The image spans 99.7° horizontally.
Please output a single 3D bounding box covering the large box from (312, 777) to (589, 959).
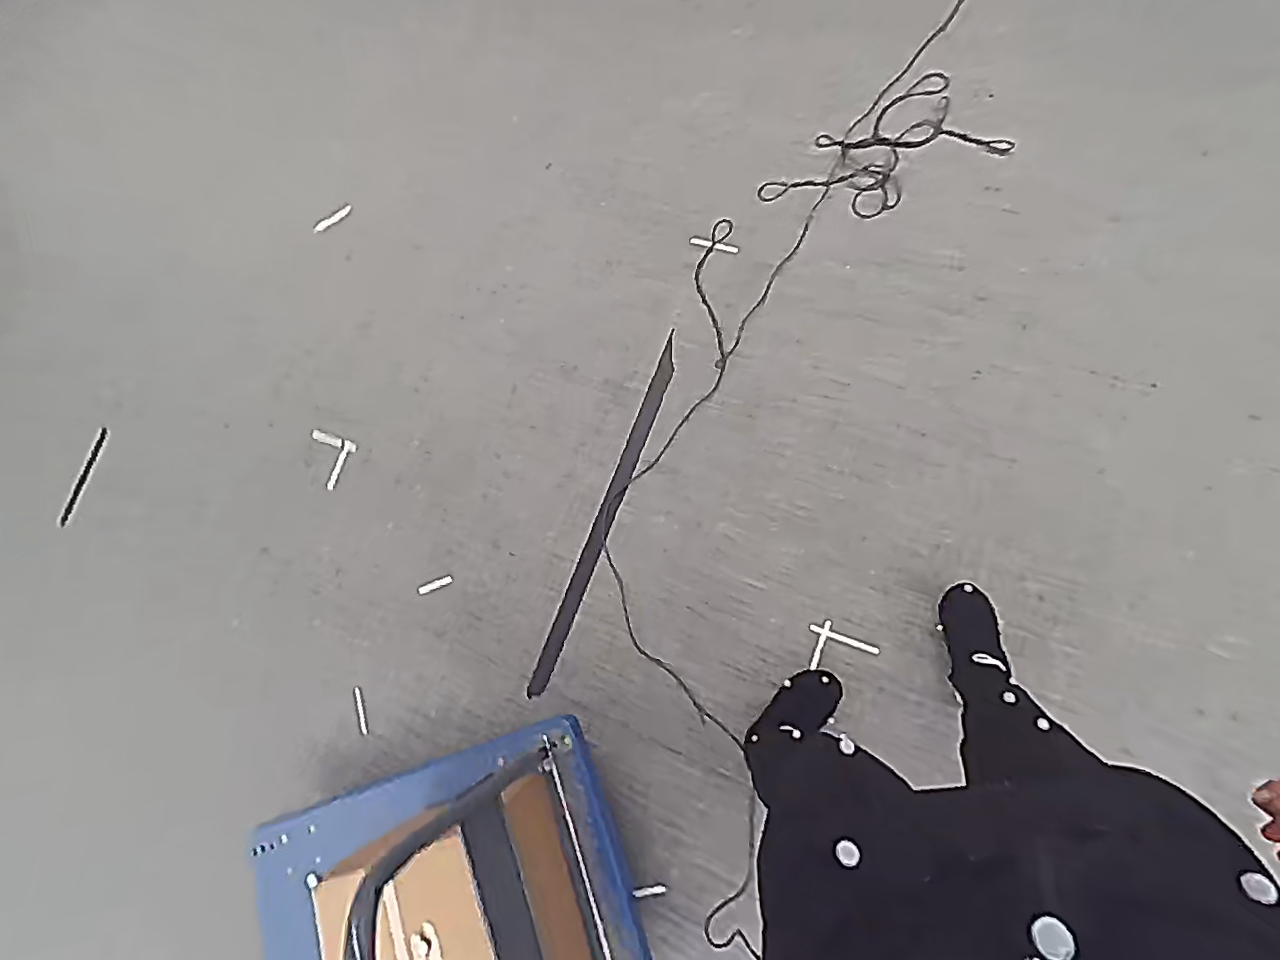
[{"bbox_3d":[-0.323,0.842,0.993,0.320,0.320,0.408,-22,74,8],"label":"large box"}]
